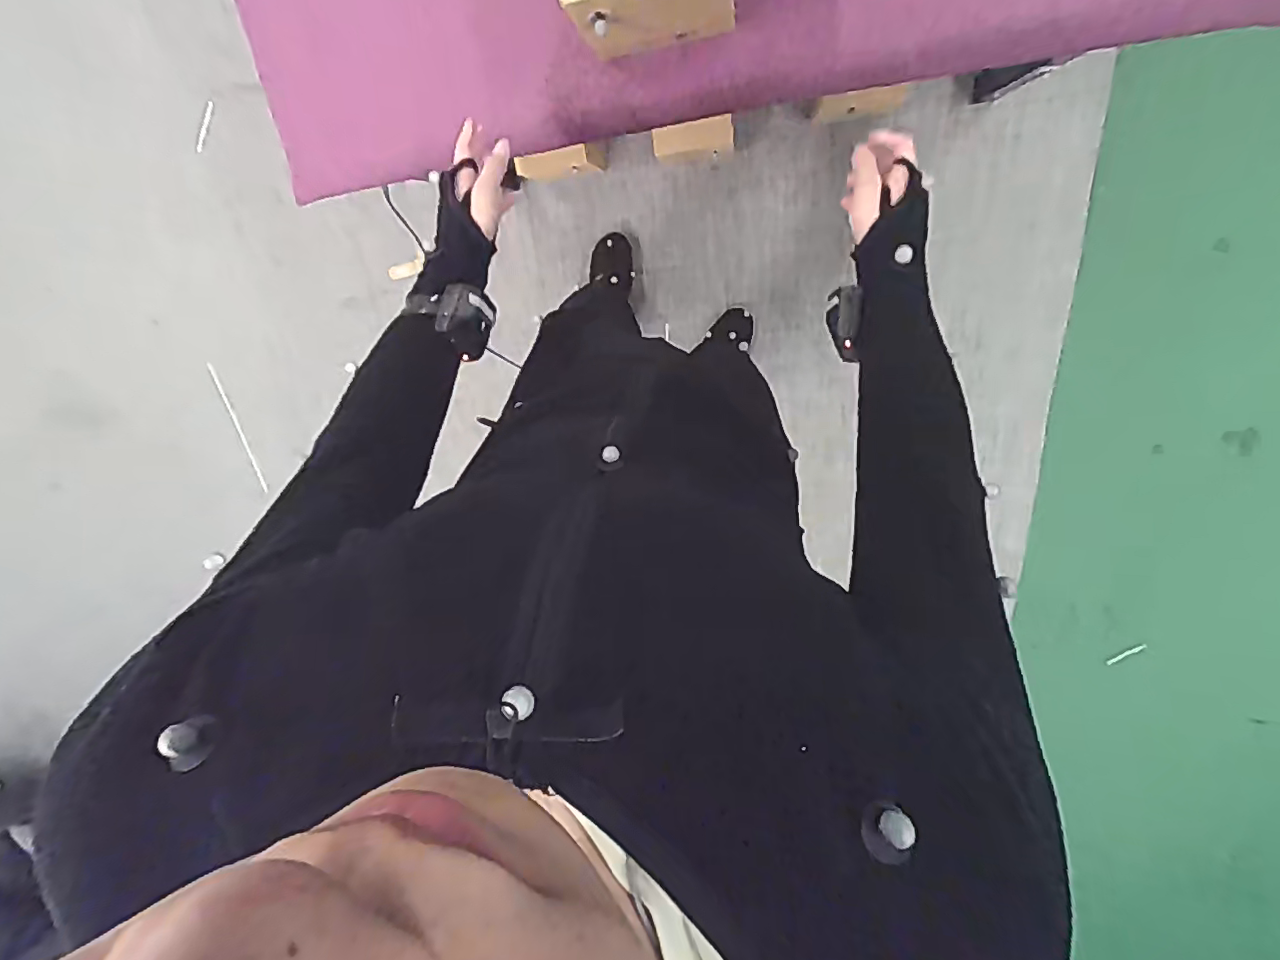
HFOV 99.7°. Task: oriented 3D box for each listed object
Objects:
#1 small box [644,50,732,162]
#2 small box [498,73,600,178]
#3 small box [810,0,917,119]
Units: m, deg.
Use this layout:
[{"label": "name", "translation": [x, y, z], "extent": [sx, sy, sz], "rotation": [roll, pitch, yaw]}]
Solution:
[{"label": "small box", "translation": [0.113, -0.825, 1.210], "extent": [0.179, 0.176, 0.168], "rotation": [-2, 113, 12]}, {"label": "small box", "translation": [-0.206, -0.820, 1.271], "extent": [0.179, 0.176, 0.168], "rotation": [-4, 114, 12]}, {"label": "small box", "translation": [0.454, -0.870, 1.126], "extent": [0.179, 0.176, 0.168], "rotation": [0, 114, 11]}]
